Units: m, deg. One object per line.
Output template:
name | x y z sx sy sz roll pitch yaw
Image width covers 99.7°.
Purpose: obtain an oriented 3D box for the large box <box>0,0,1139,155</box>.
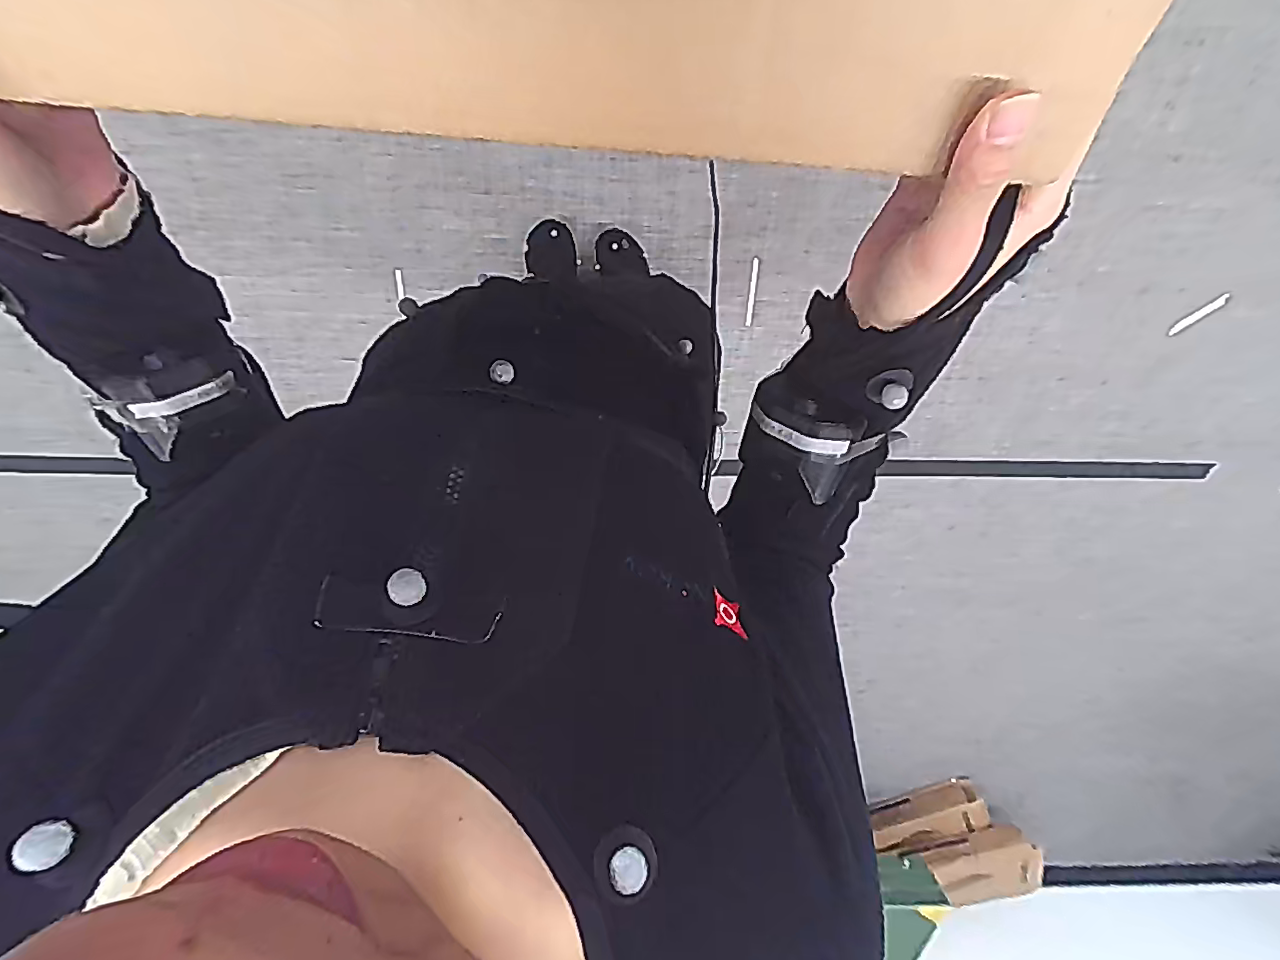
large box | -0.038 -0.338 0.176 0.408 0.320 0.320 2 141 -2
